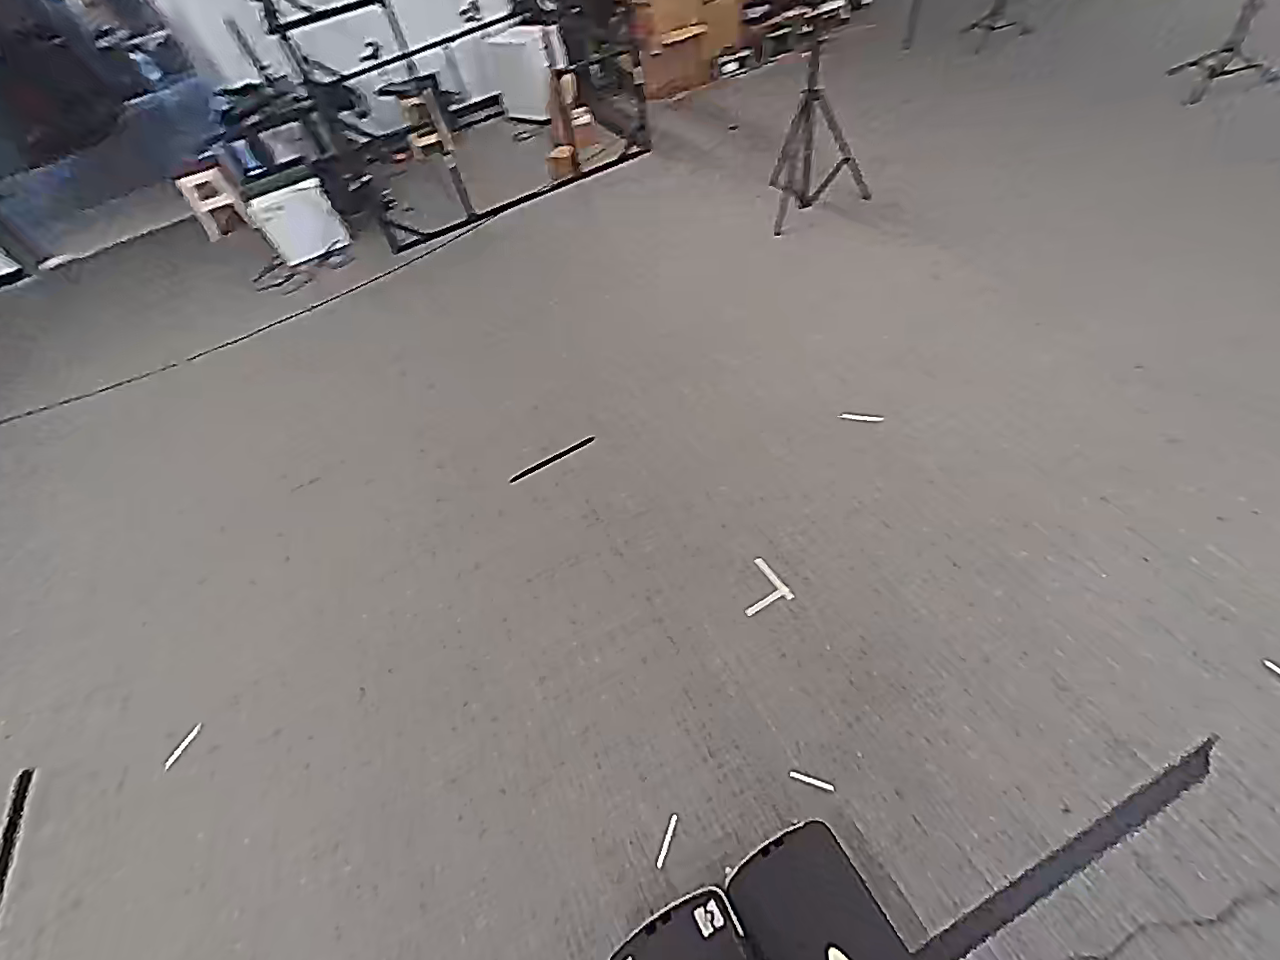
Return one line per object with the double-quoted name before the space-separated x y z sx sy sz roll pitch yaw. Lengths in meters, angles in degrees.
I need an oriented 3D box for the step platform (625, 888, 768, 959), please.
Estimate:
"step platform" 0.231 1.177 0.987 0.286 0.204 0.684 -28 50 -11
